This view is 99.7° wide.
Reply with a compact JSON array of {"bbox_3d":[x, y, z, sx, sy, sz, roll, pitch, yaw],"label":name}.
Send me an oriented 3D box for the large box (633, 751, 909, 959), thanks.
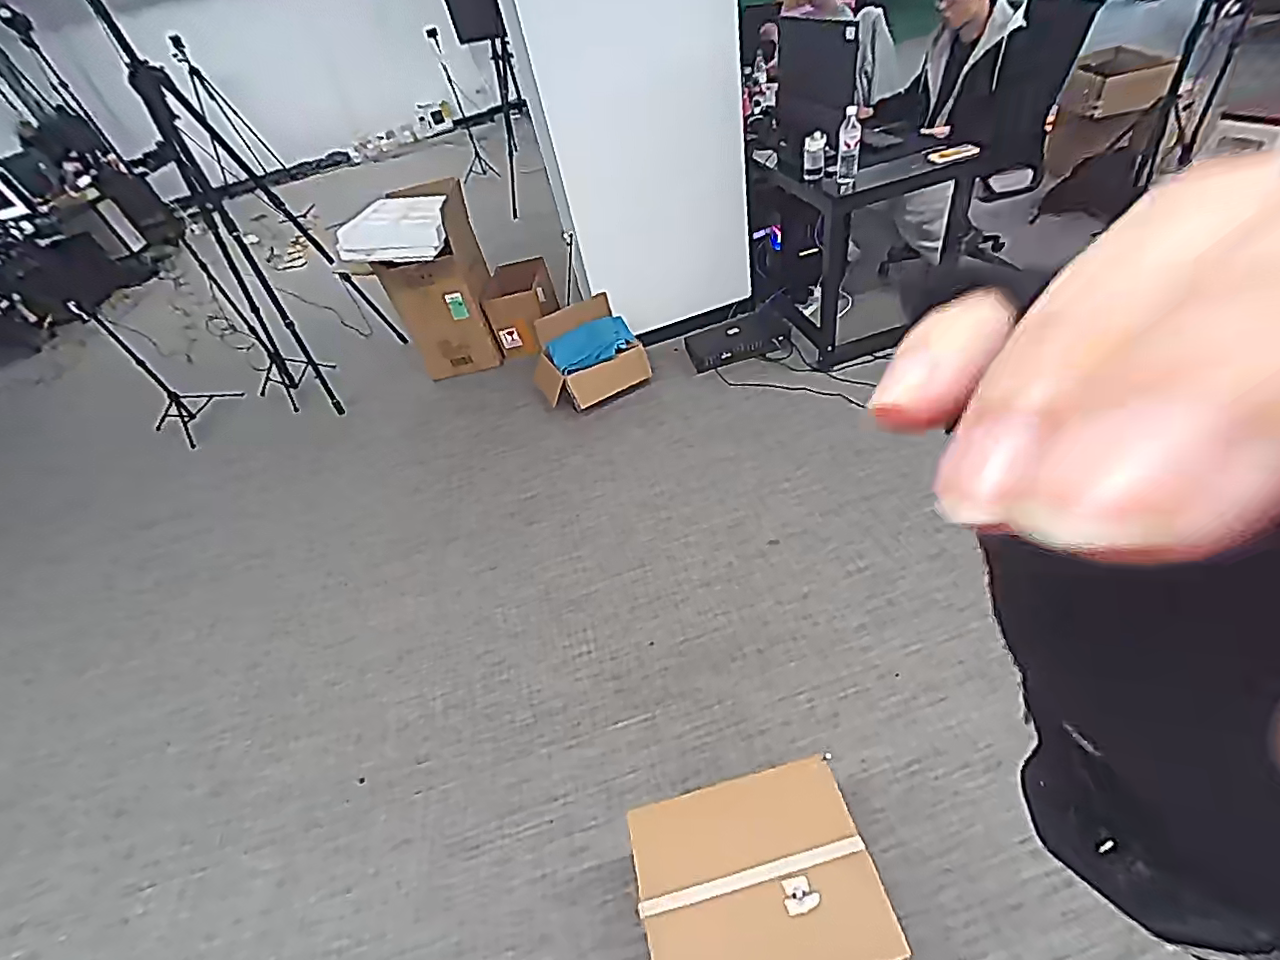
[{"bbox_3d":[0.232,0.796,1.052,0.408,0.320,0.320,-16,44,-2],"label":"large box"}]
